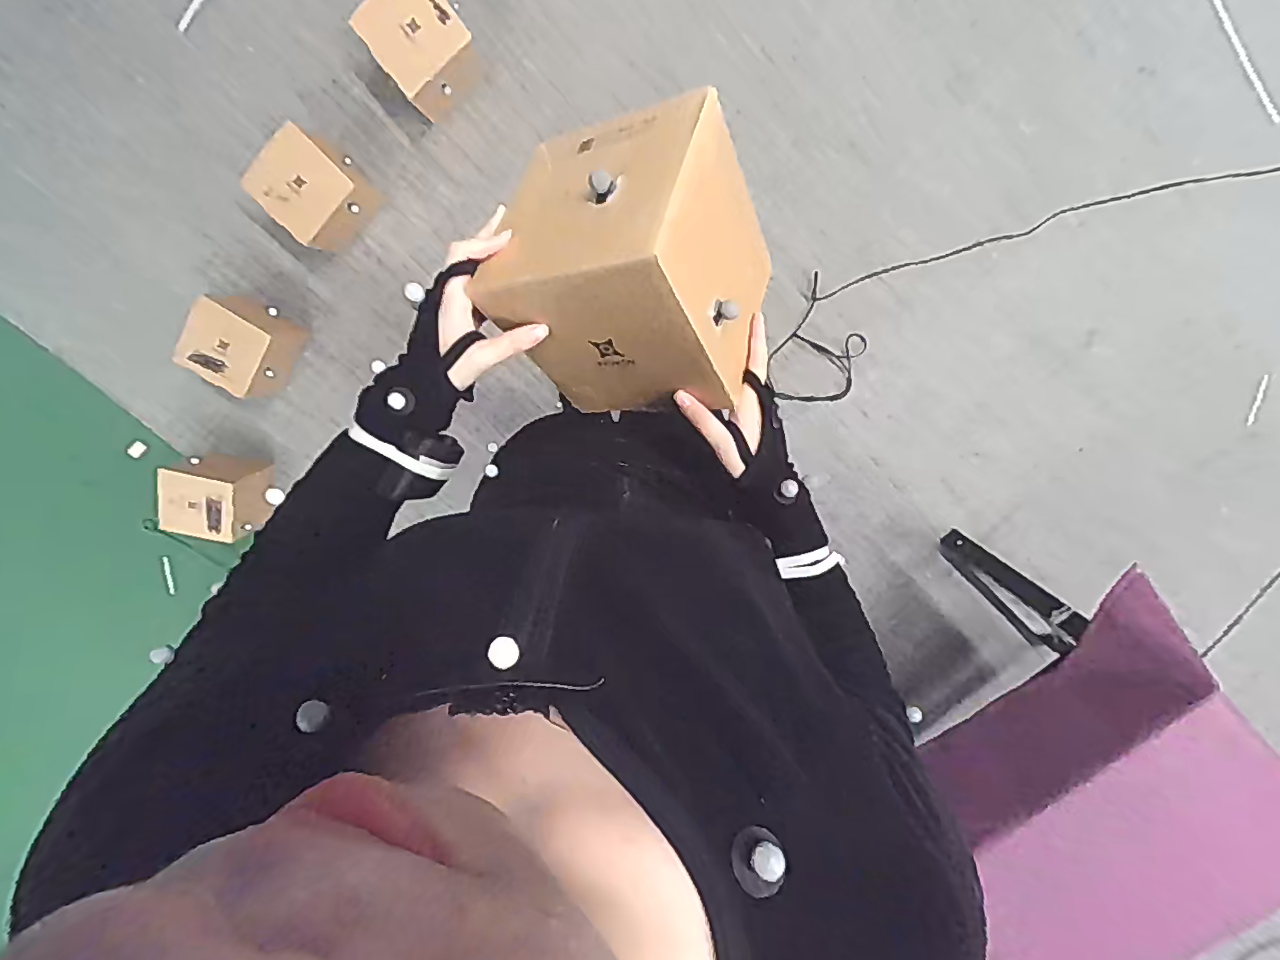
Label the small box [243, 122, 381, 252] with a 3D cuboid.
[{"bbox_3d":[-0.704,-0.630,1.189,0.179,0.176,0.168,-42,104,11],"label":"small box"}]

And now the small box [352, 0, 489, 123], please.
[{"bbox_3d":[-0.439,-0.885,1.115,0.179,0.176,0.168,-37,106,10],"label":"small box"}]

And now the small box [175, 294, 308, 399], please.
[{"bbox_3d":[-0.933,-0.318,1.283,0.168,0.176,0.179,33,103,-12],"label":"small box"}]
